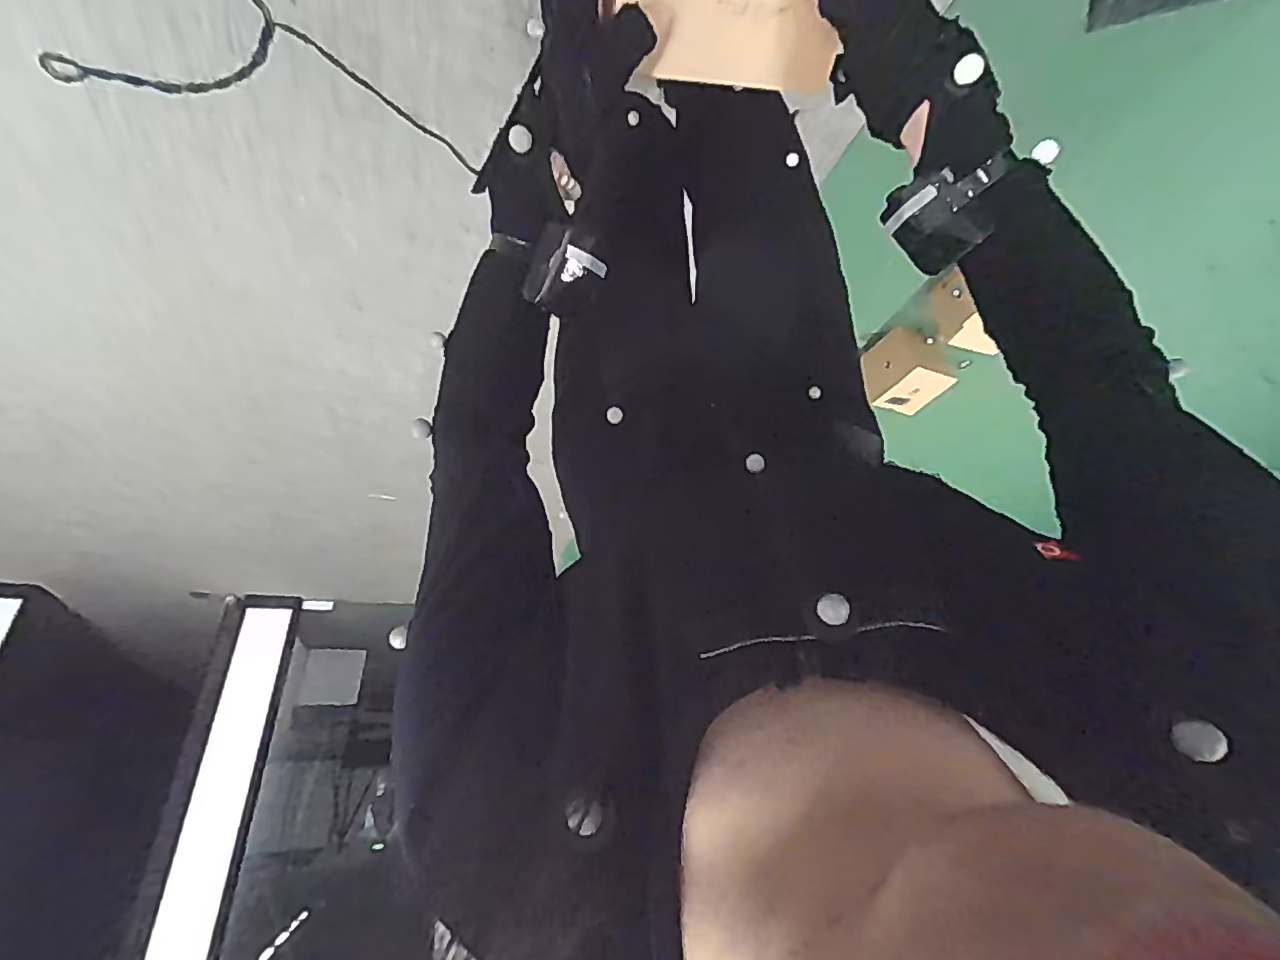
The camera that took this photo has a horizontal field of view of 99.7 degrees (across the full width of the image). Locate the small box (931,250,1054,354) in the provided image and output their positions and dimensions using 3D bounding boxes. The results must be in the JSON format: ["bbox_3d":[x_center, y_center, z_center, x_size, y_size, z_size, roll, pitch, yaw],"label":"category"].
[{"bbox_3d":[0.883,-0.452,1.372,0.179,0.176,0.168,8,149,-19],"label":"small box"}]

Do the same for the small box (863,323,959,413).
[{"bbox_3d":[0.783,-0.326,1.586,0.168,0.176,0.179,9,148,-22],"label":"small box"}]

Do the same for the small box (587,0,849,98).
[{"bbox_3d":[0.054,-0.405,0.388,0.168,0.176,0.179,-2,136,-11],"label":"small box"}]
